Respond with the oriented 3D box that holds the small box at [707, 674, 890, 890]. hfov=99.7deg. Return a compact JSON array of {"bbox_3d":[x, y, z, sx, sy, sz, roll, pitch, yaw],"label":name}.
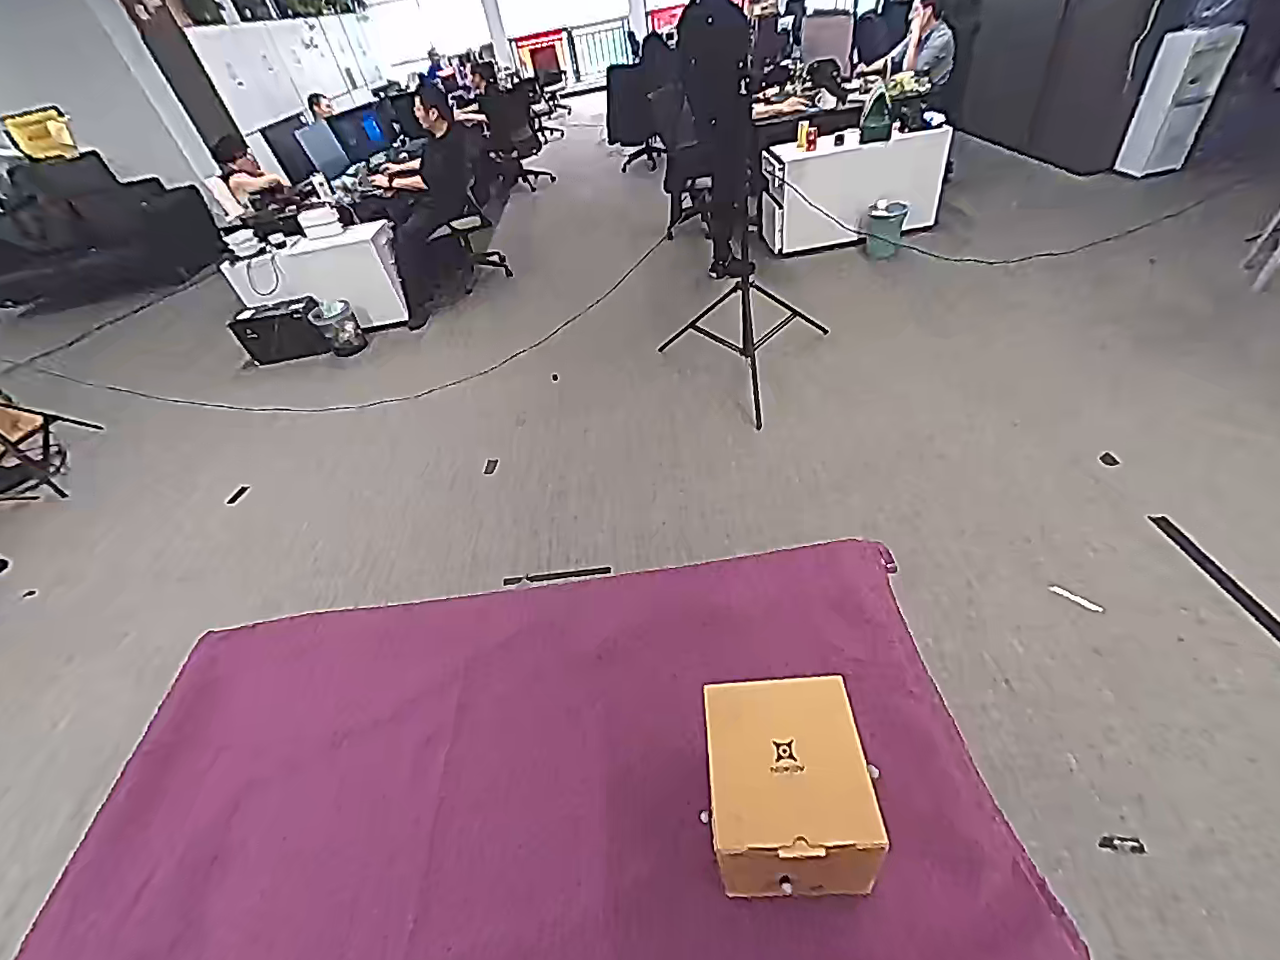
[{"bbox_3d":[0.171,0.354,0.635,0.168,0.176,0.179,-7,41,7],"label":"small box"}]
